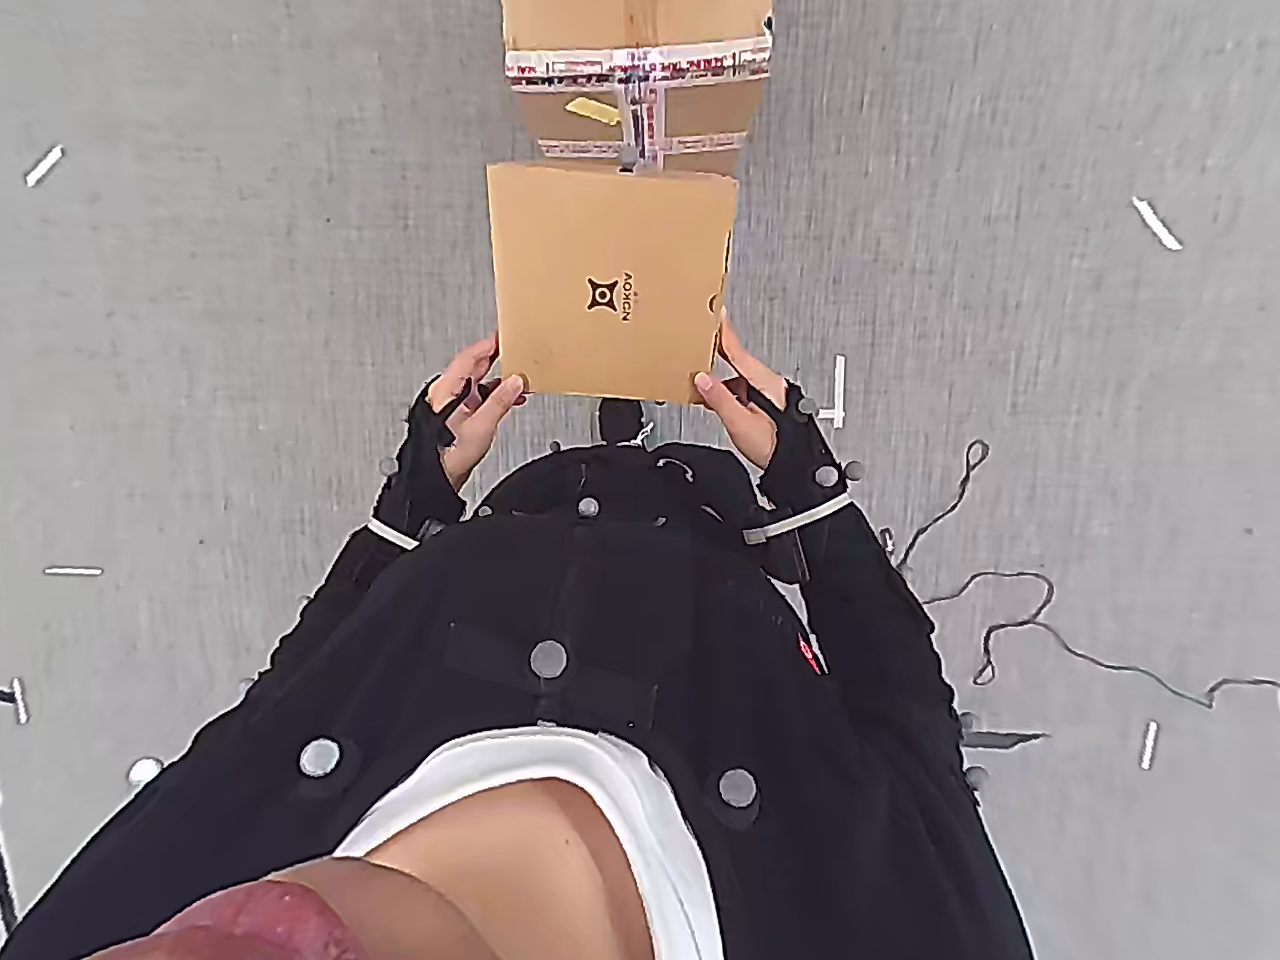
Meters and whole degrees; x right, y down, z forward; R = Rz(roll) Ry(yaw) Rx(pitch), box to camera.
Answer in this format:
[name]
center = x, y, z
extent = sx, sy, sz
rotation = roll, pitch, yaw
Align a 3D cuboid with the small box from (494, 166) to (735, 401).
[small box]
center = -0.022, -0.184, 0.493
extent = 0.179, 0.176, 0.168
rotation = 4, 120, -1
